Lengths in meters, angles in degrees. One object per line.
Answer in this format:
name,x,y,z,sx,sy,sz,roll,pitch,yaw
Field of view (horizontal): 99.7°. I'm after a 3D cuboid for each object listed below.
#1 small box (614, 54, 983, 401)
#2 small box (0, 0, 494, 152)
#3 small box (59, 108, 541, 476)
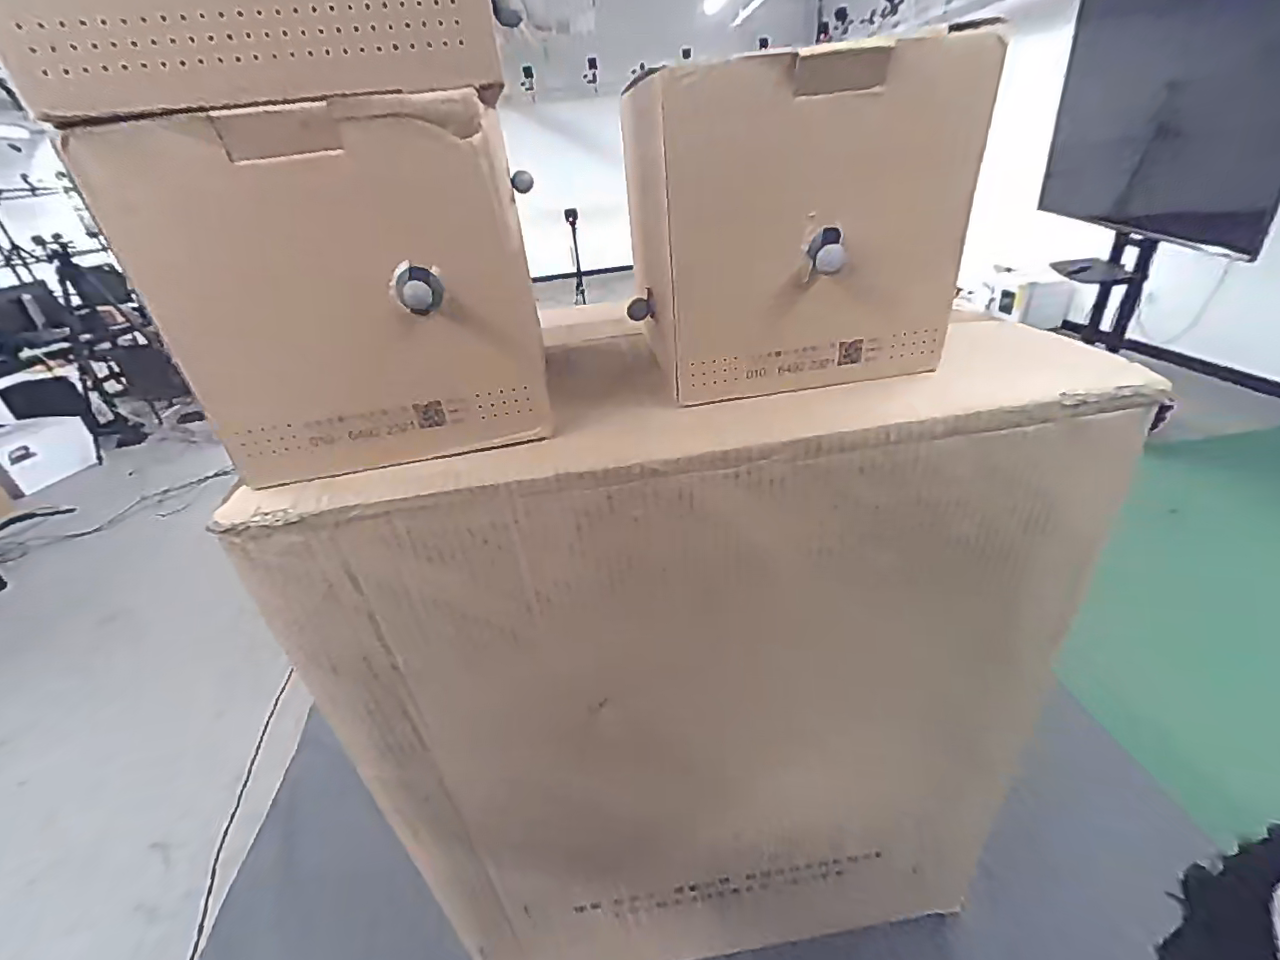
small box,0.080,-0.159,0.360,0.168,0.176,0.179,-8,32,-4
small box,-0.167,-0.248,0.240,0.179,0.176,0.168,-13,34,-13
small box,-0.157,-0.112,0.331,0.168,0.176,0.179,-10,31,-7
